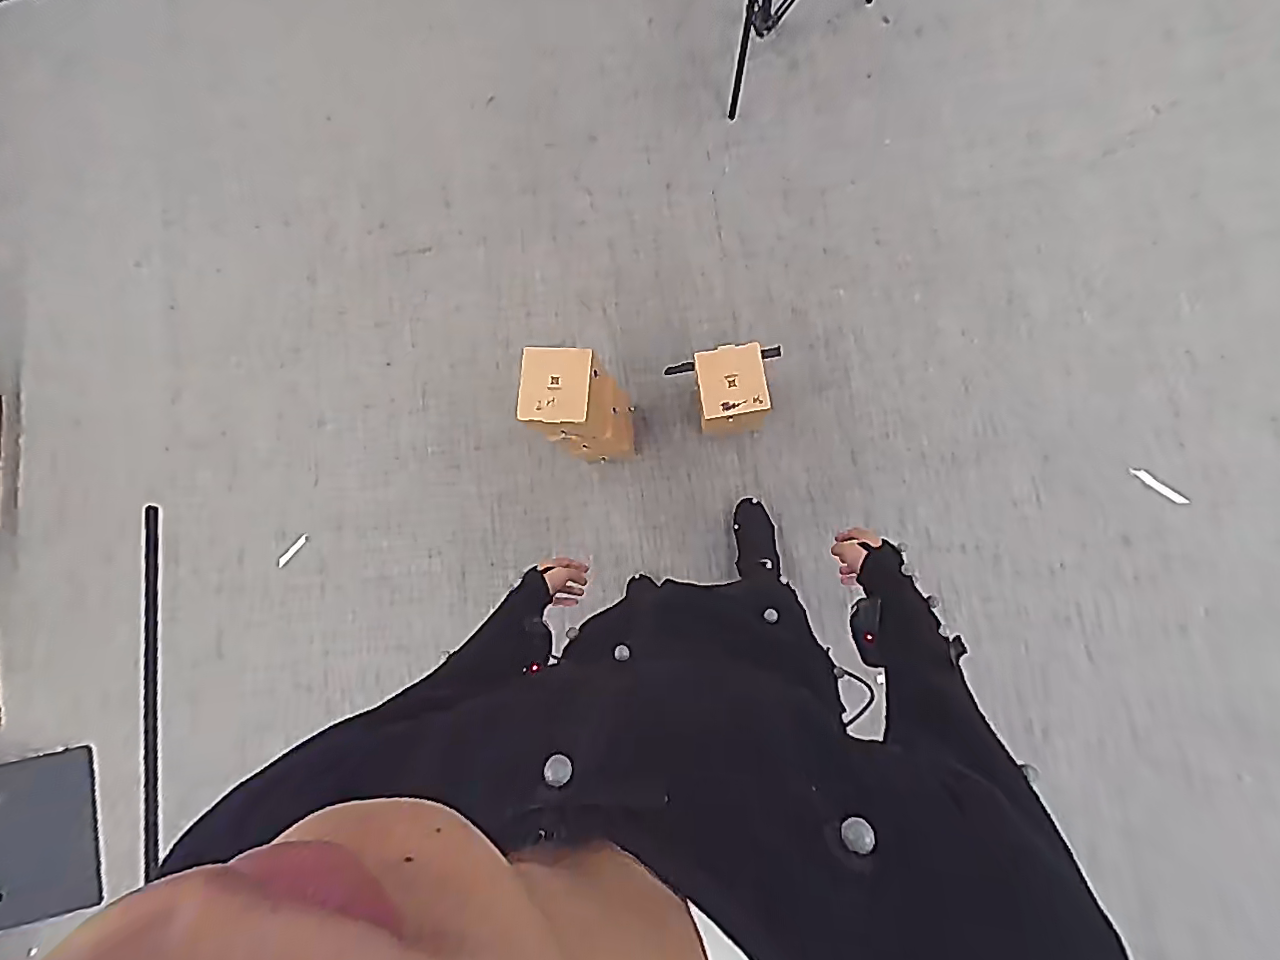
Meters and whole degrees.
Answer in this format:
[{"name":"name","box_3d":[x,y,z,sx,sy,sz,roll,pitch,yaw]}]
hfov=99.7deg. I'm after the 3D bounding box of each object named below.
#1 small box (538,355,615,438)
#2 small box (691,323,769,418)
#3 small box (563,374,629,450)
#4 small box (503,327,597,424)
[{"name":"small box","box_3d":[-0.159,-0.210,1.398,0.168,0.176,0.179,-2,84,8]},{"name":"small box","box_3d":[0.220,-0.268,1.356,0.168,0.176,0.179,-9,83,6]},{"name":"small box","box_3d":[-0.128,-0.191,1.556,0.168,0.176,0.179,-5,83,7]},{"name":"small box","box_3d":[-0.198,-0.234,1.239,0.168,0.176,0.179,4,85,8]}]
